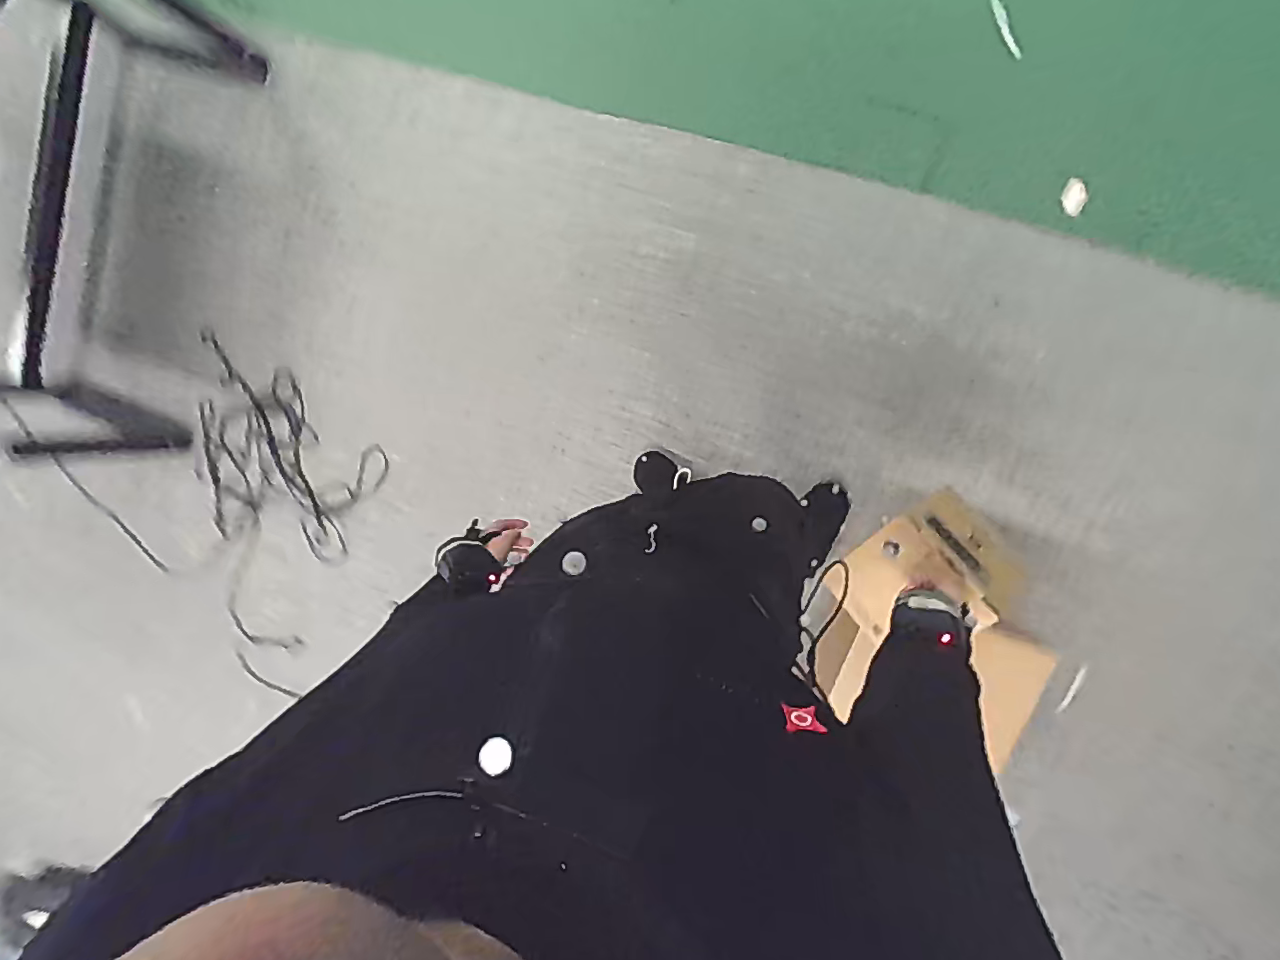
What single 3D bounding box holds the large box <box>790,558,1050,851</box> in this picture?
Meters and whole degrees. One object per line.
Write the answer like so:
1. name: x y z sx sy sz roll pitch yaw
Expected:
1. large box: 0.533 0.427 1.123 0.320 0.320 0.408 22 101 11
